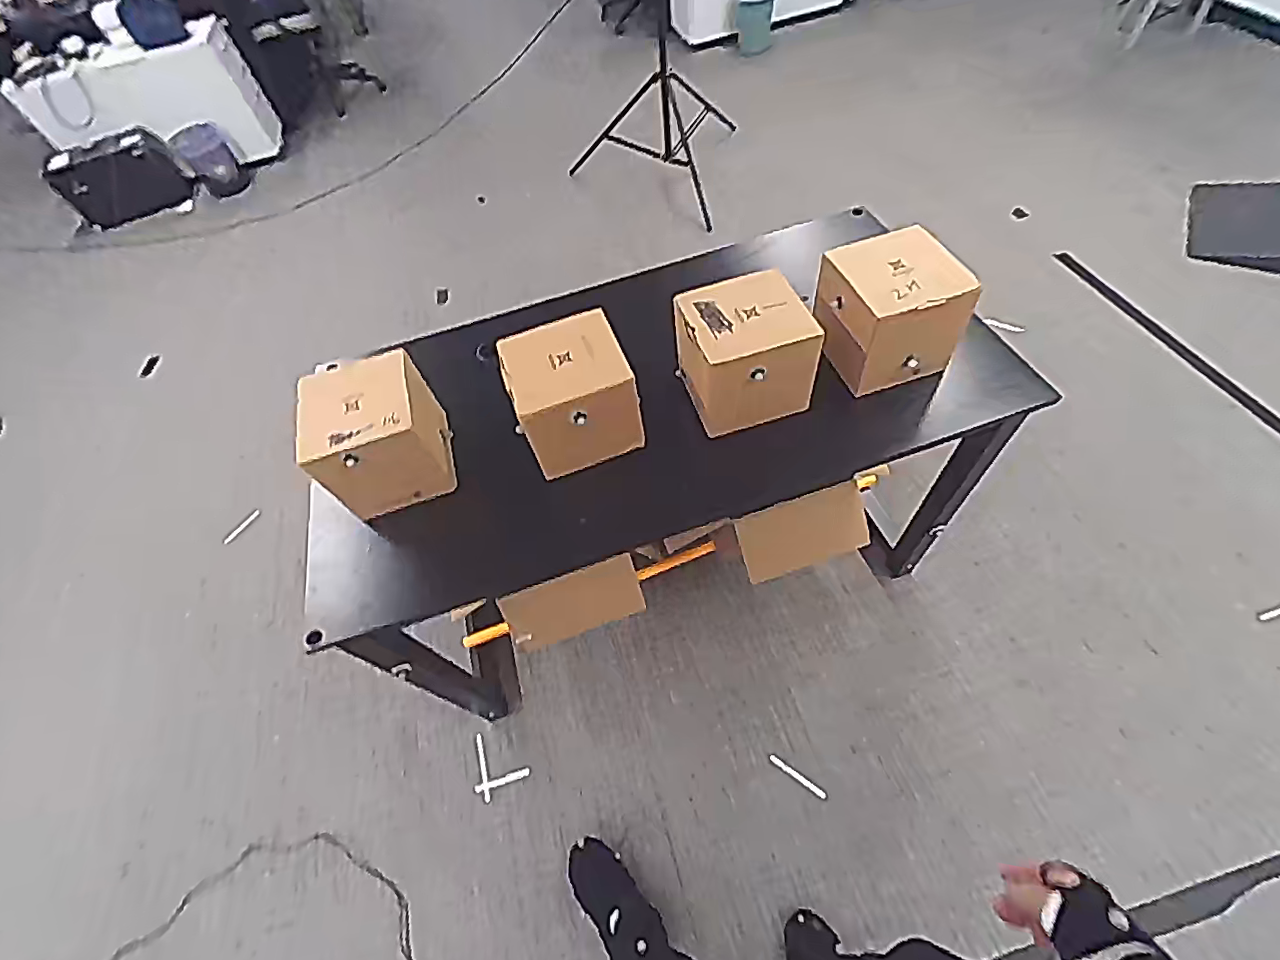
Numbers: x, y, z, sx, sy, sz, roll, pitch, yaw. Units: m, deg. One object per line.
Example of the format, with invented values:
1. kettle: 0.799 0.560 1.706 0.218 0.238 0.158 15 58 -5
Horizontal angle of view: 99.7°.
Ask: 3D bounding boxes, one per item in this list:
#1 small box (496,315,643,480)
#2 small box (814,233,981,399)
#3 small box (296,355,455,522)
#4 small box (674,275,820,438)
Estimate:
1. small box: -0.107 -0.126 0.866 0.179 0.176 0.168 -20 57 -6
2. small box: 0.399 -0.264 0.881 0.168 0.176 0.179 -17 56 -2
3. small box: -0.412 -0.063 0.864 0.168 0.176 0.179 -18 56 -5
4. small box: 0.165 -0.191 0.868 0.179 0.176 0.168 -16 56 -2
